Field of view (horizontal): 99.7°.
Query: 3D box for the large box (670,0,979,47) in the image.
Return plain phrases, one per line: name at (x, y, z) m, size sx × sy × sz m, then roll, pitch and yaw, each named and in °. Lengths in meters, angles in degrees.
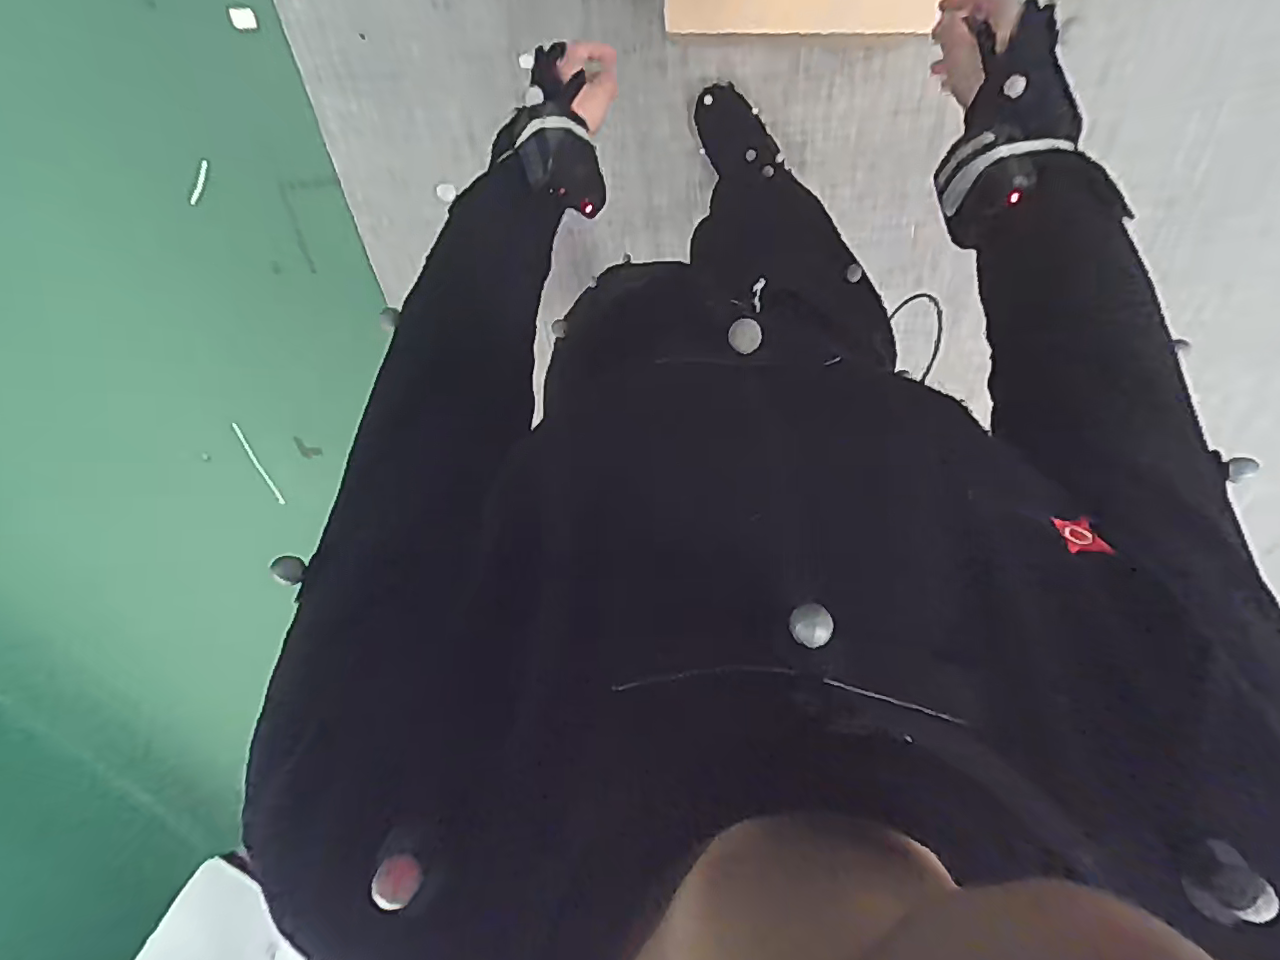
large box at (0.248, -0.815, 0.753) m, size 0.408 × 0.320 × 0.320 m, roll 3°, pitch 128°, yaw 5°
